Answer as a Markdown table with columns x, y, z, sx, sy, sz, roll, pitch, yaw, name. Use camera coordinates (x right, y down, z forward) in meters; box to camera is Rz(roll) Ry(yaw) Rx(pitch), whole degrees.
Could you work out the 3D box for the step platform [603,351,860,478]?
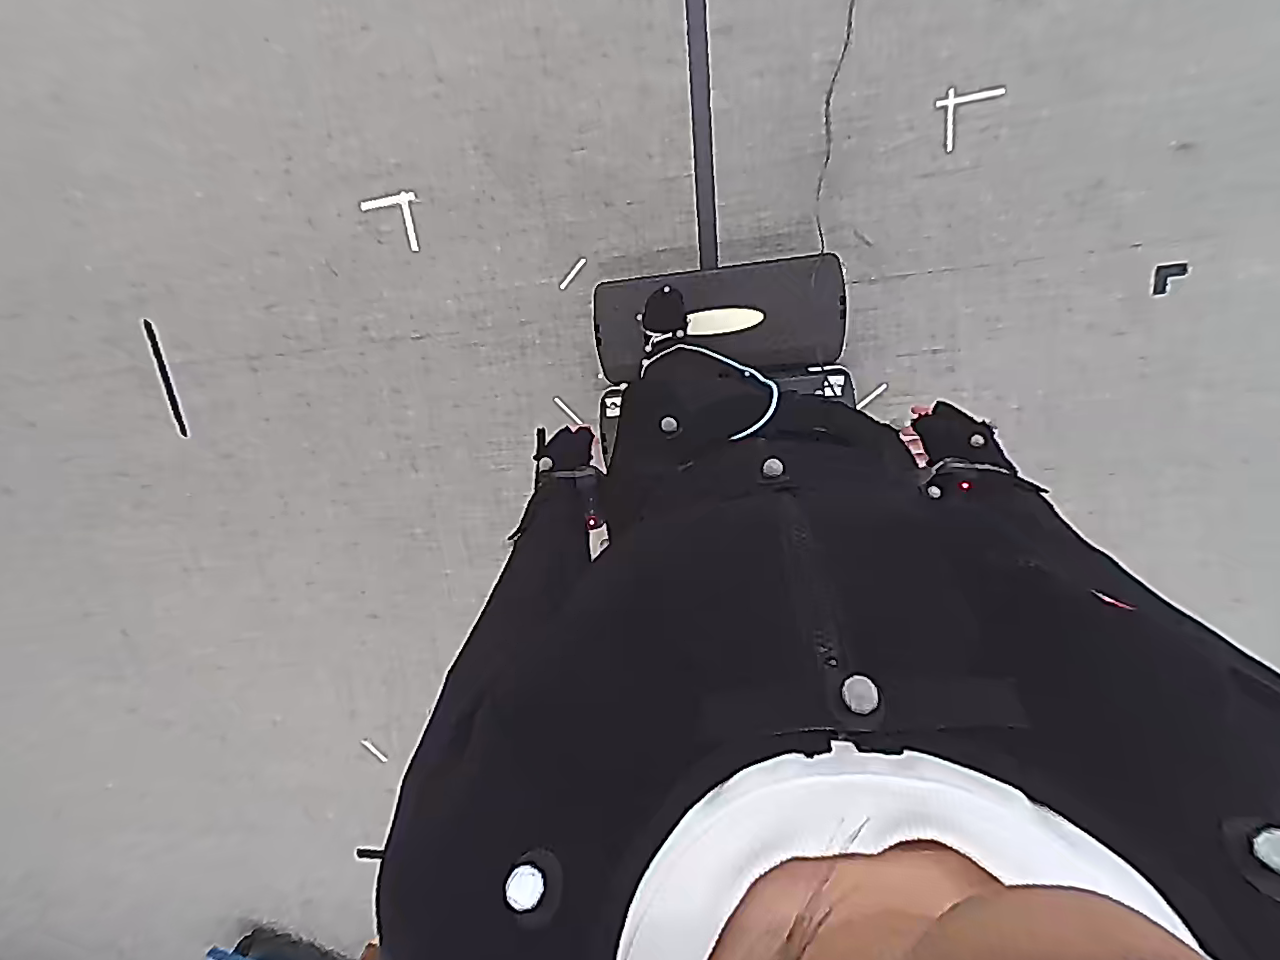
| x | y | z | sx | sy | sz | roll | pitch | yaw | name |
| --- | --- | --- | --- | --- | --- | --- | --- | --- | --- |
| 0.242 | -0.177 | 1.495 | 0.684 | 0.204 | 0.286 | -4 | 104 | 11 | step platform |
